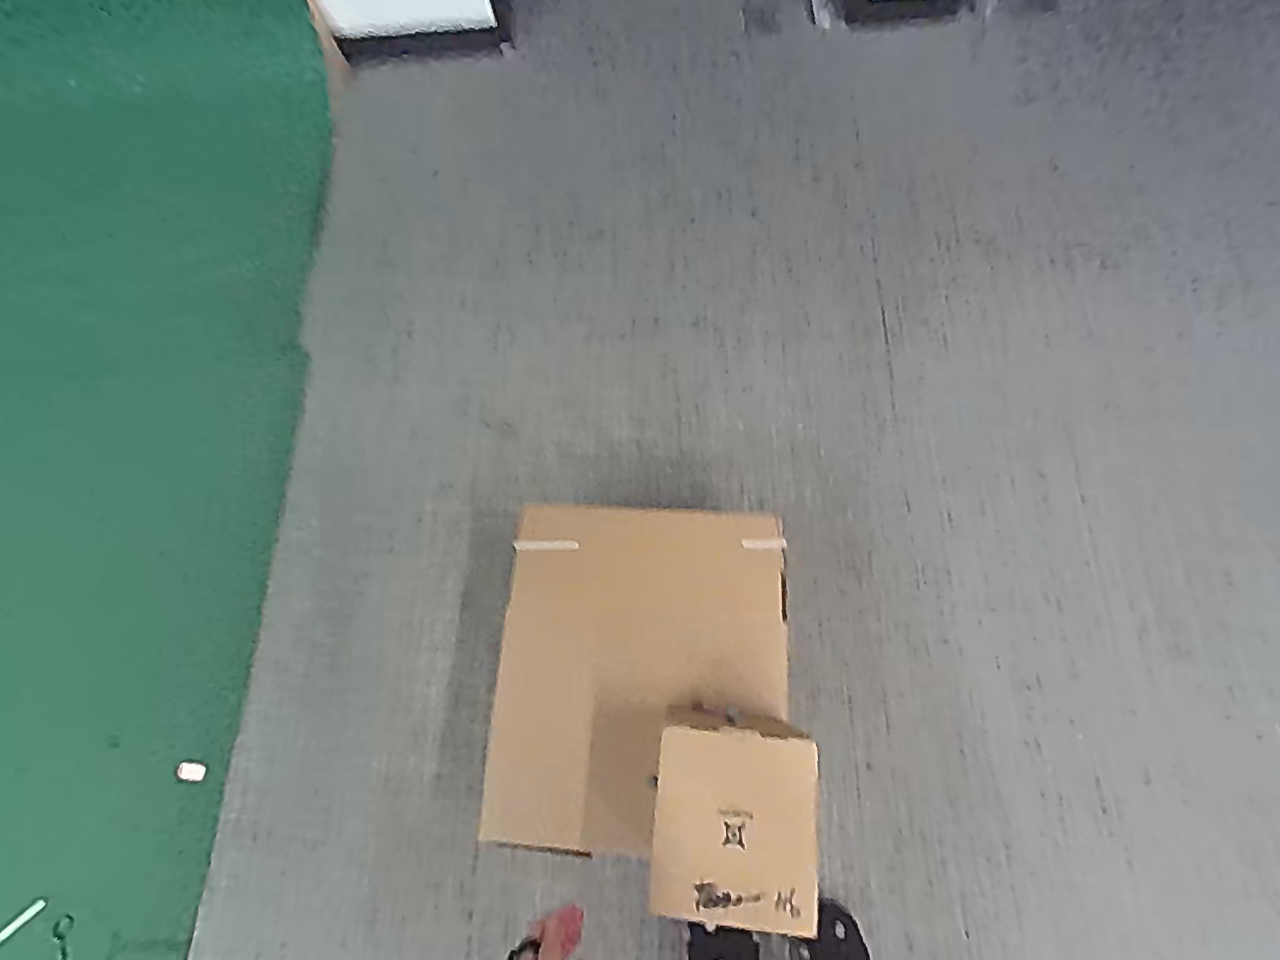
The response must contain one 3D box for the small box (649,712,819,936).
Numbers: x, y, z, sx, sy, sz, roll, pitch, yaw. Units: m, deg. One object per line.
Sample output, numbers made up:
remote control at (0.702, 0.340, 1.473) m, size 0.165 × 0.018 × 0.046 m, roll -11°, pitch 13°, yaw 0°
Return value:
small box at (0.102, 0.373, 0.624) m, size 0.168 × 0.176 × 0.179 m, roll 4°, pitch 71°, yaw 5°
